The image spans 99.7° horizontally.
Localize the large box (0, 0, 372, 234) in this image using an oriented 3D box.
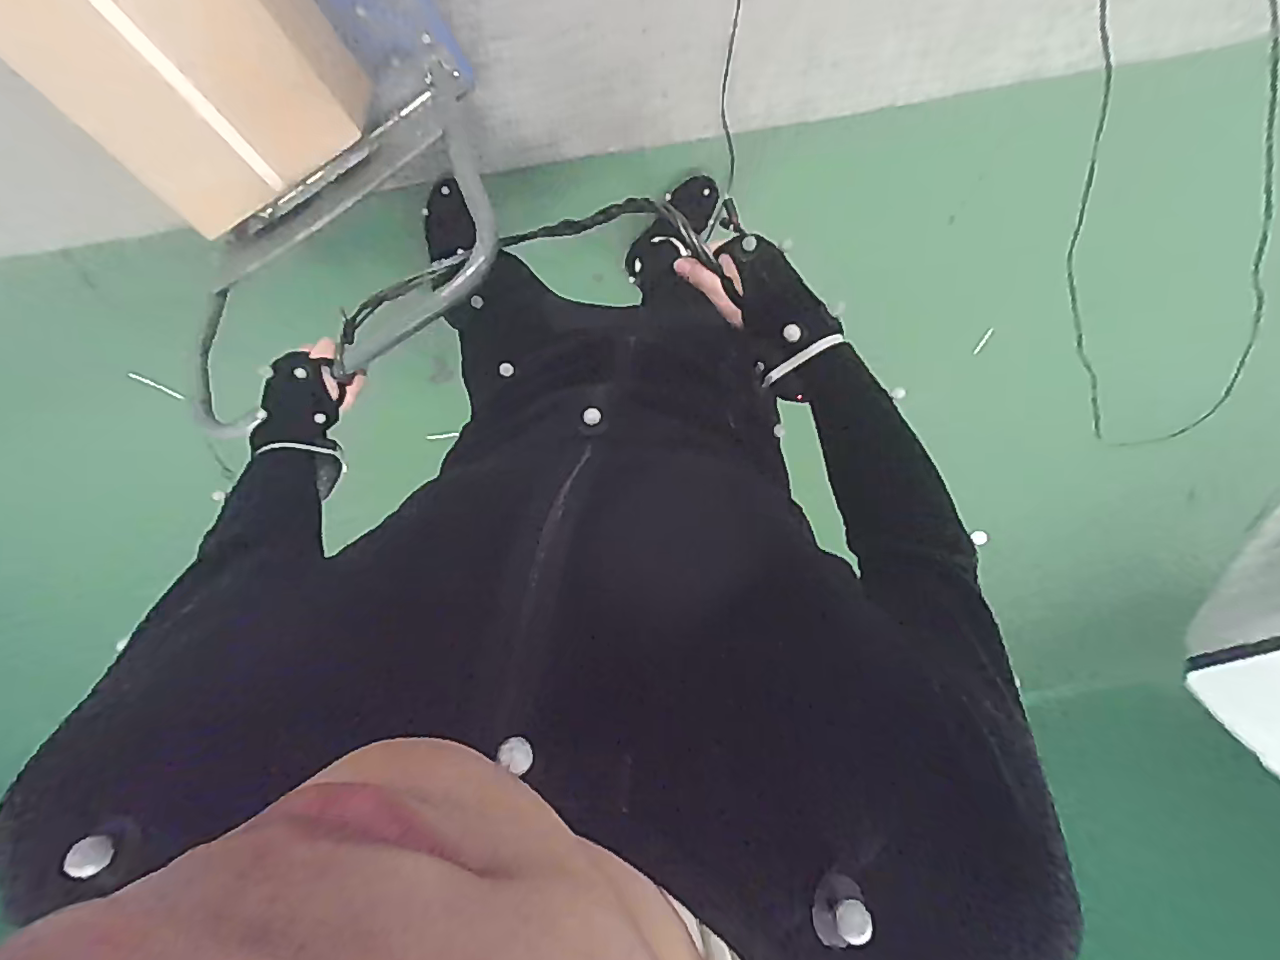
[{"bbox_3d":[-0.676,-0.671,0.797,0.320,0.320,0.408,-28,139,9],"label":"large box"}]
